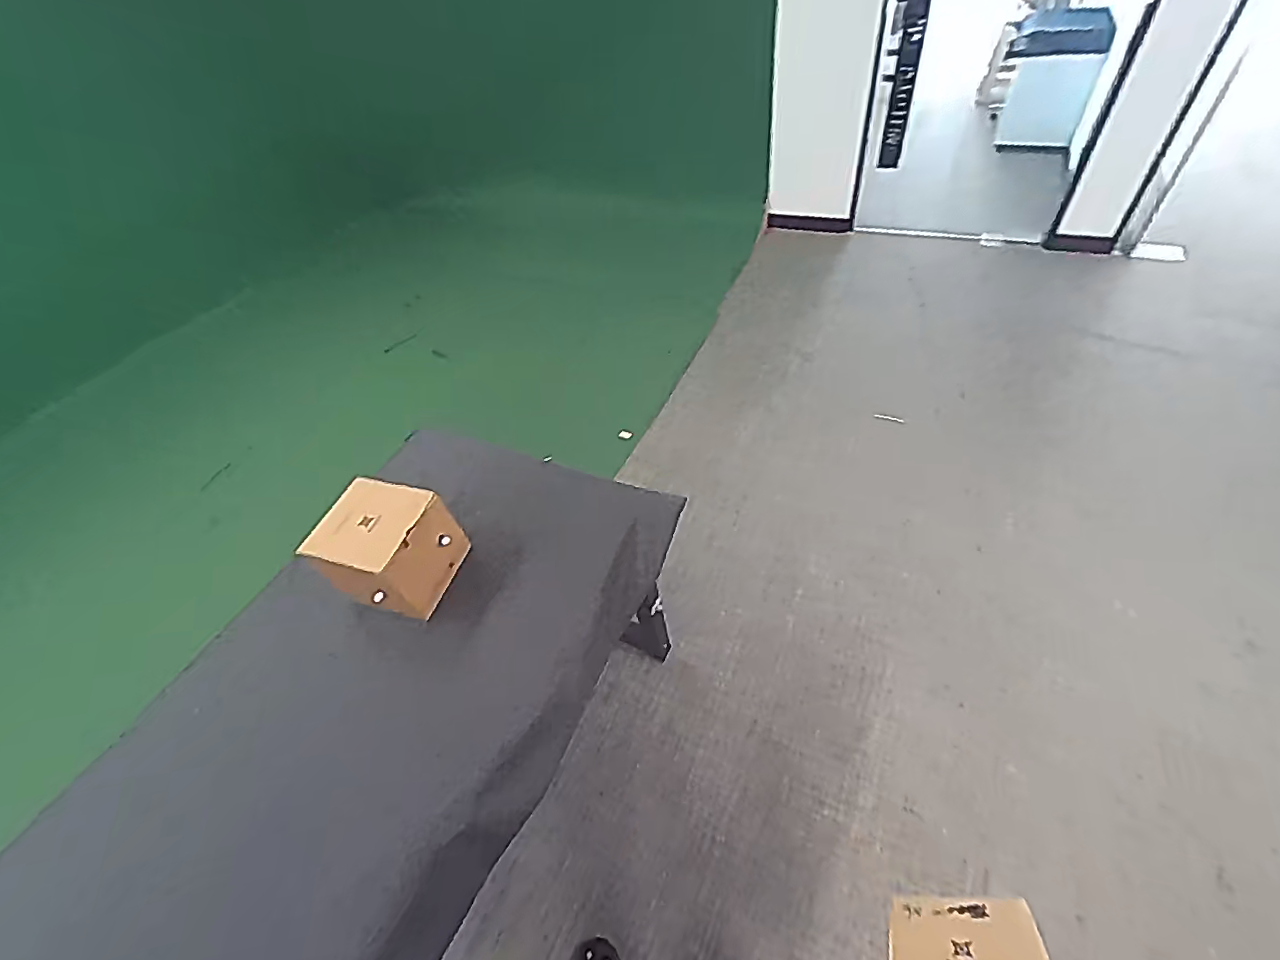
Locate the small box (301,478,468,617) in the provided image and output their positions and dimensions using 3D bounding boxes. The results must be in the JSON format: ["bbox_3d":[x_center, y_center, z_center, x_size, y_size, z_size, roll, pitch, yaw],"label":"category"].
[{"bbox_3d":[-0.437,0.123,0.962,0.179,0.176,0.168,9,50,17],"label":"small box"}]

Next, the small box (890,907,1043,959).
[{"bbox_3d":[0.400,0.647,0.623,0.168,0.179,0.176,-18,86,26],"label":"small box"}]
